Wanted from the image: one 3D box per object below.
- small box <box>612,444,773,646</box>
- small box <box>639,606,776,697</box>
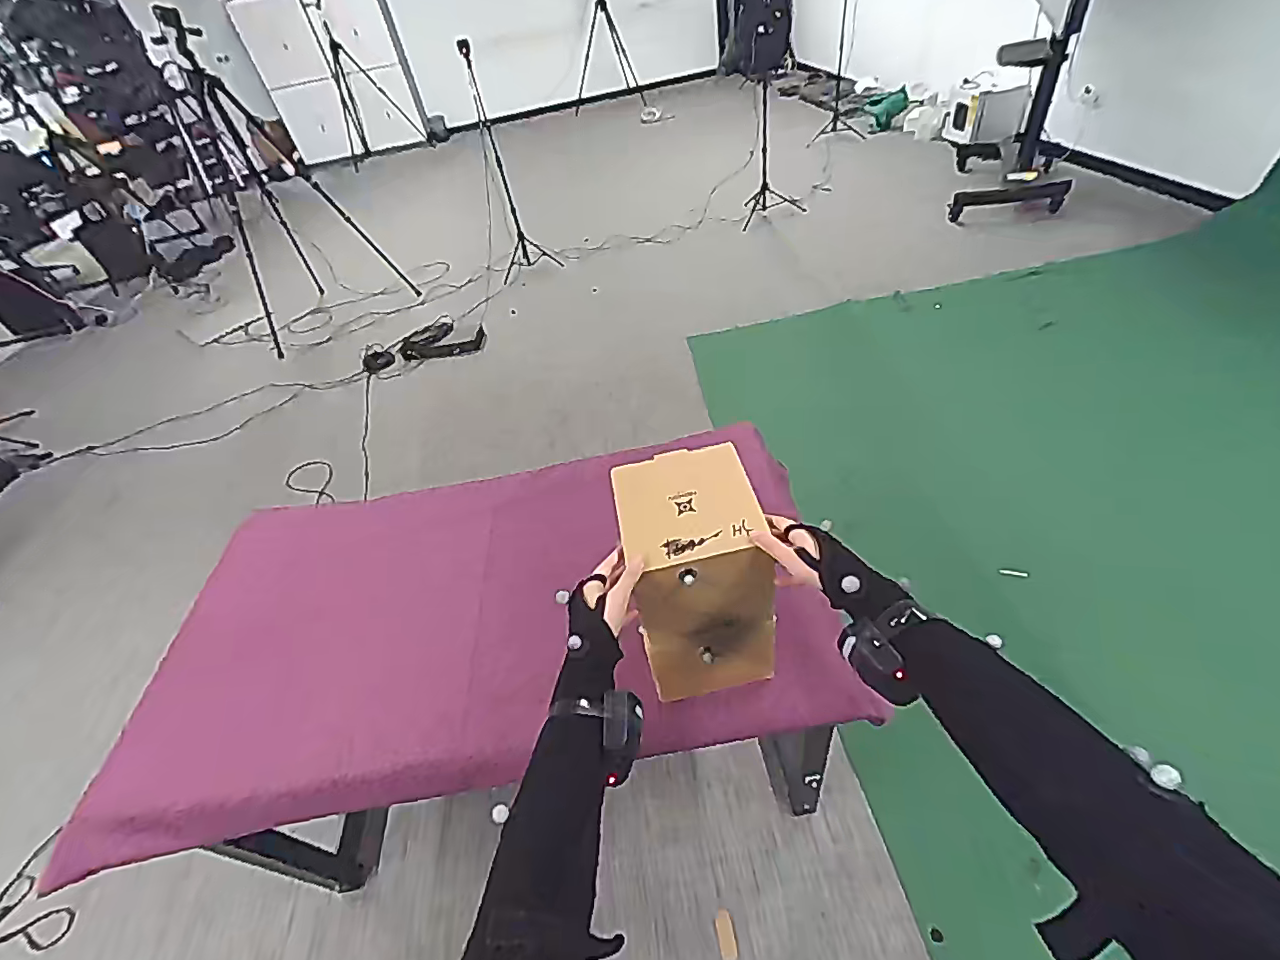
[{"bbox_3d":[0.068,0.085,0.704,0.168,0.176,0.179,-14,44,2],"label":"small box"},{"bbox_3d":[0.095,0.201,0.816,0.179,0.176,0.168,-15,44,1],"label":"small box"}]
